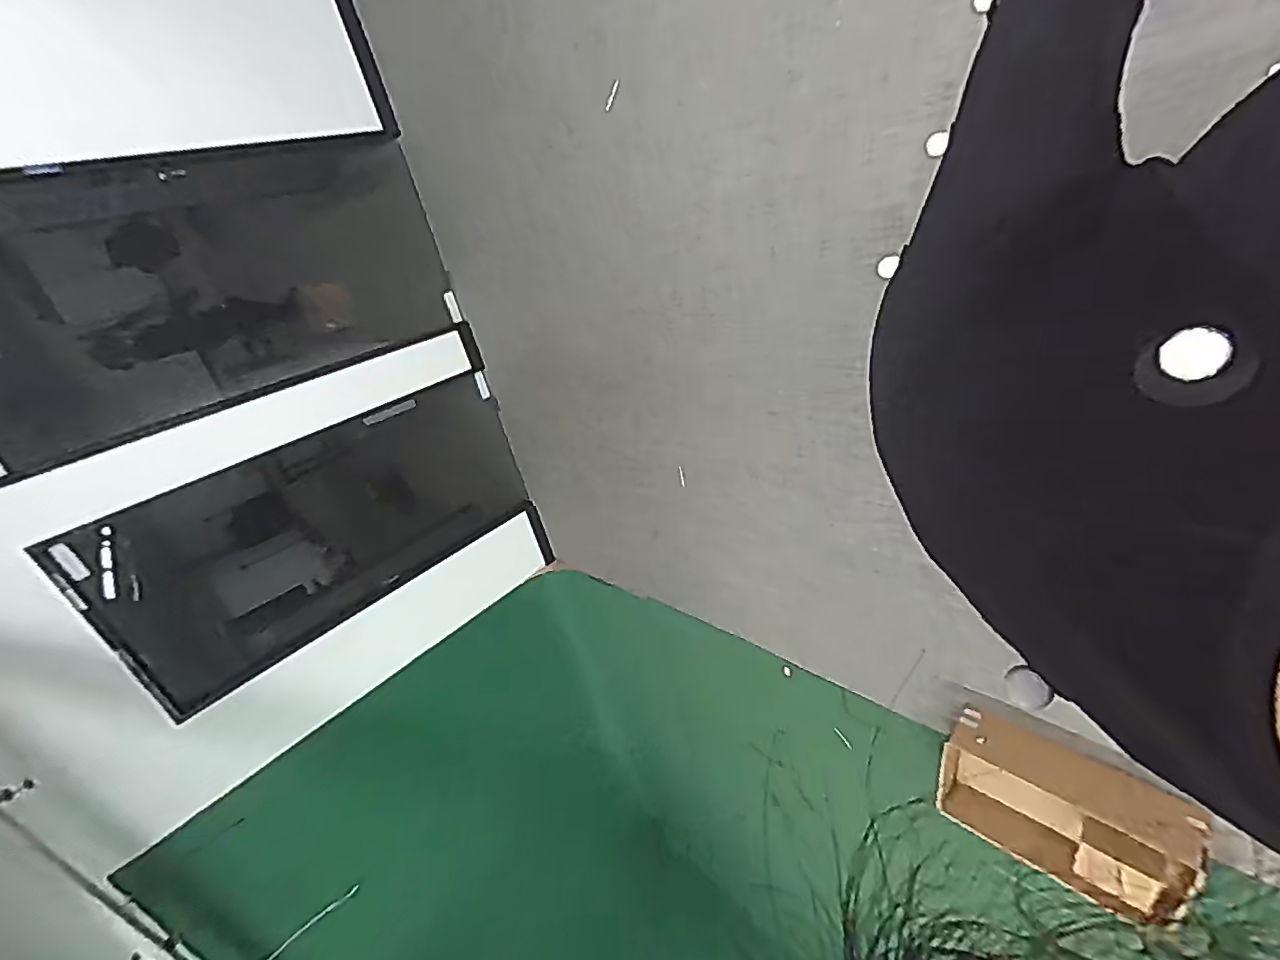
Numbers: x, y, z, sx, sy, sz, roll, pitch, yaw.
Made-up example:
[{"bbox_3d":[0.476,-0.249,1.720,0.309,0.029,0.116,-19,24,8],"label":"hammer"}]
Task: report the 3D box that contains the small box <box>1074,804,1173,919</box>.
[{"bbox_3d":[1.396,1.090,1.560,0.179,0.176,0.168,17,128,44],"label":"small box"}]
